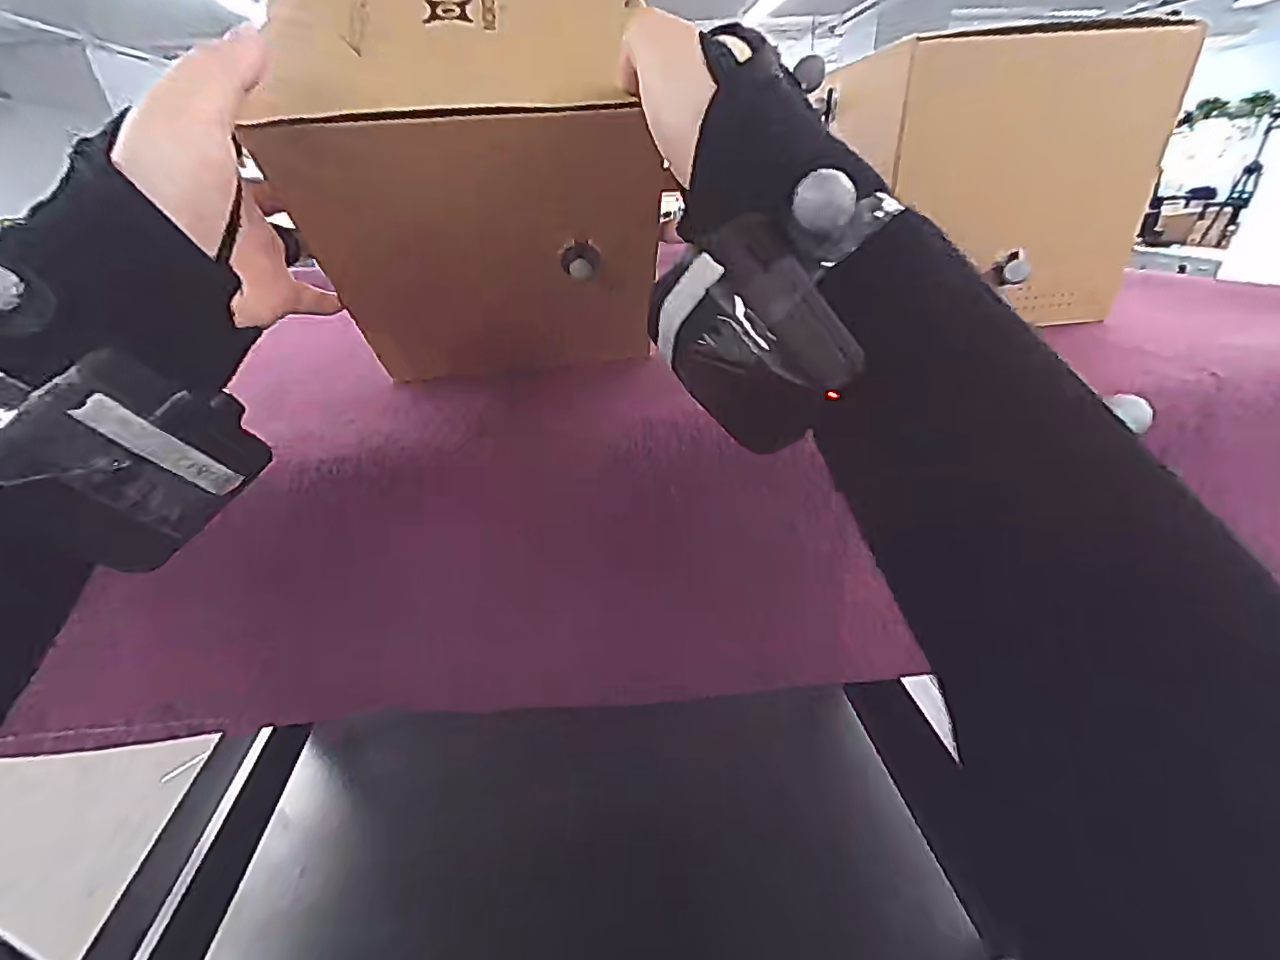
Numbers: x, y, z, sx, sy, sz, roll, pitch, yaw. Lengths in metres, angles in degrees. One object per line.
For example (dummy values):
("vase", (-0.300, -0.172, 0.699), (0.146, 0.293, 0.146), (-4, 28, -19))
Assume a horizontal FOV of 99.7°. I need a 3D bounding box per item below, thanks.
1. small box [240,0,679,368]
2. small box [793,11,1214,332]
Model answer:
("small box", (-0.082, -0.185, 0.320), (0.179, 0.176, 0.168), (-6, 66, -5))
("small box", (0.229, -0.215, 0.400), (0.179, 0.176, 0.168), (-6, 28, -4))
